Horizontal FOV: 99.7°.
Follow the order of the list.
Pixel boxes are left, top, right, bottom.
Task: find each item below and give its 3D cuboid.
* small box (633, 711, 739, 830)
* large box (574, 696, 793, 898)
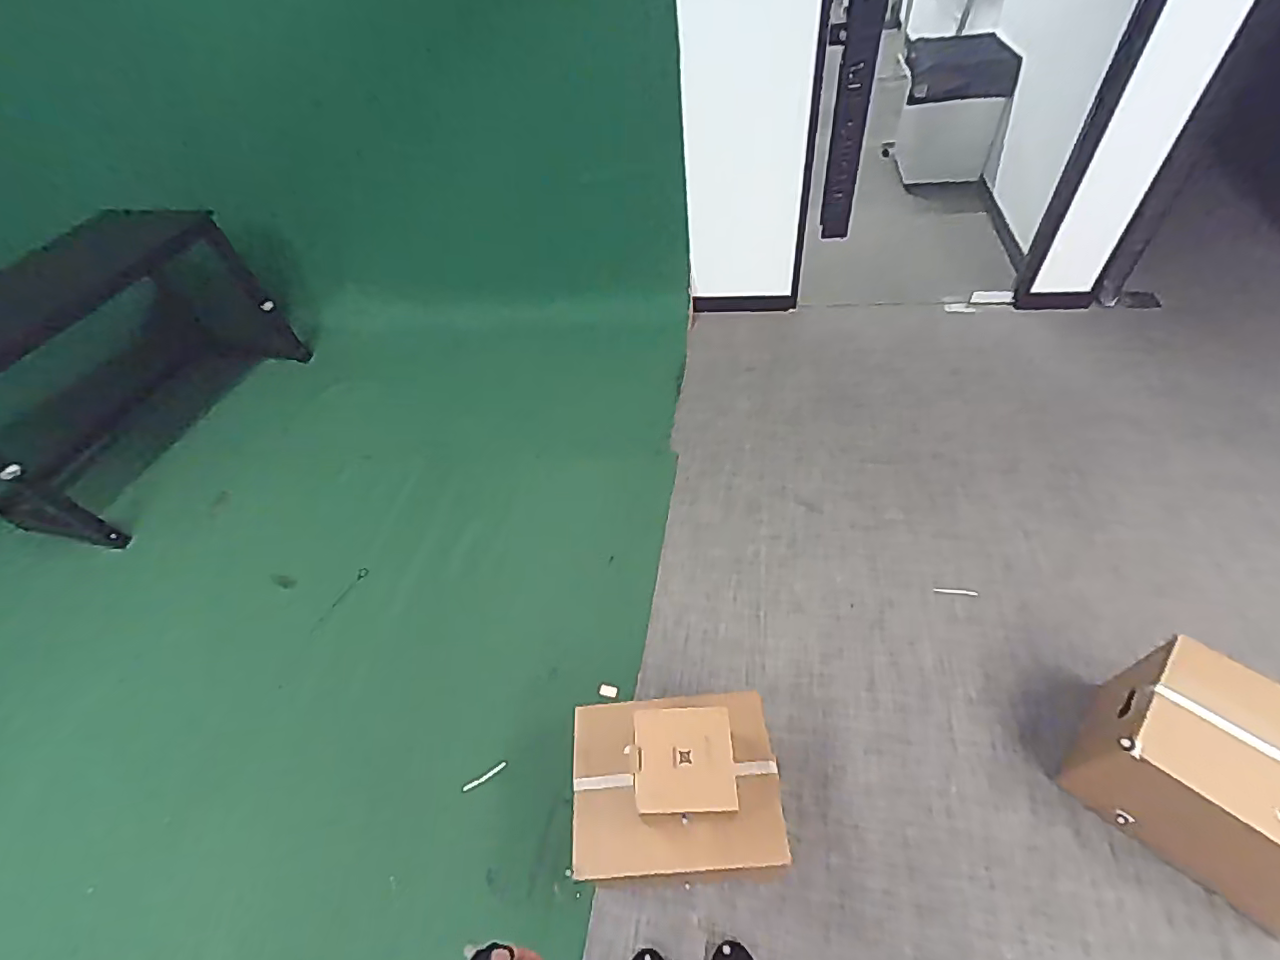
[{"bbox_3d":[0.086,0.535,0.991,0.179,0.176,0.168,-4,51,5],"label":"small box"},{"bbox_3d":[0.090,0.697,1.179,0.408,0.320,0.320,-8,48,4],"label":"large box"}]
